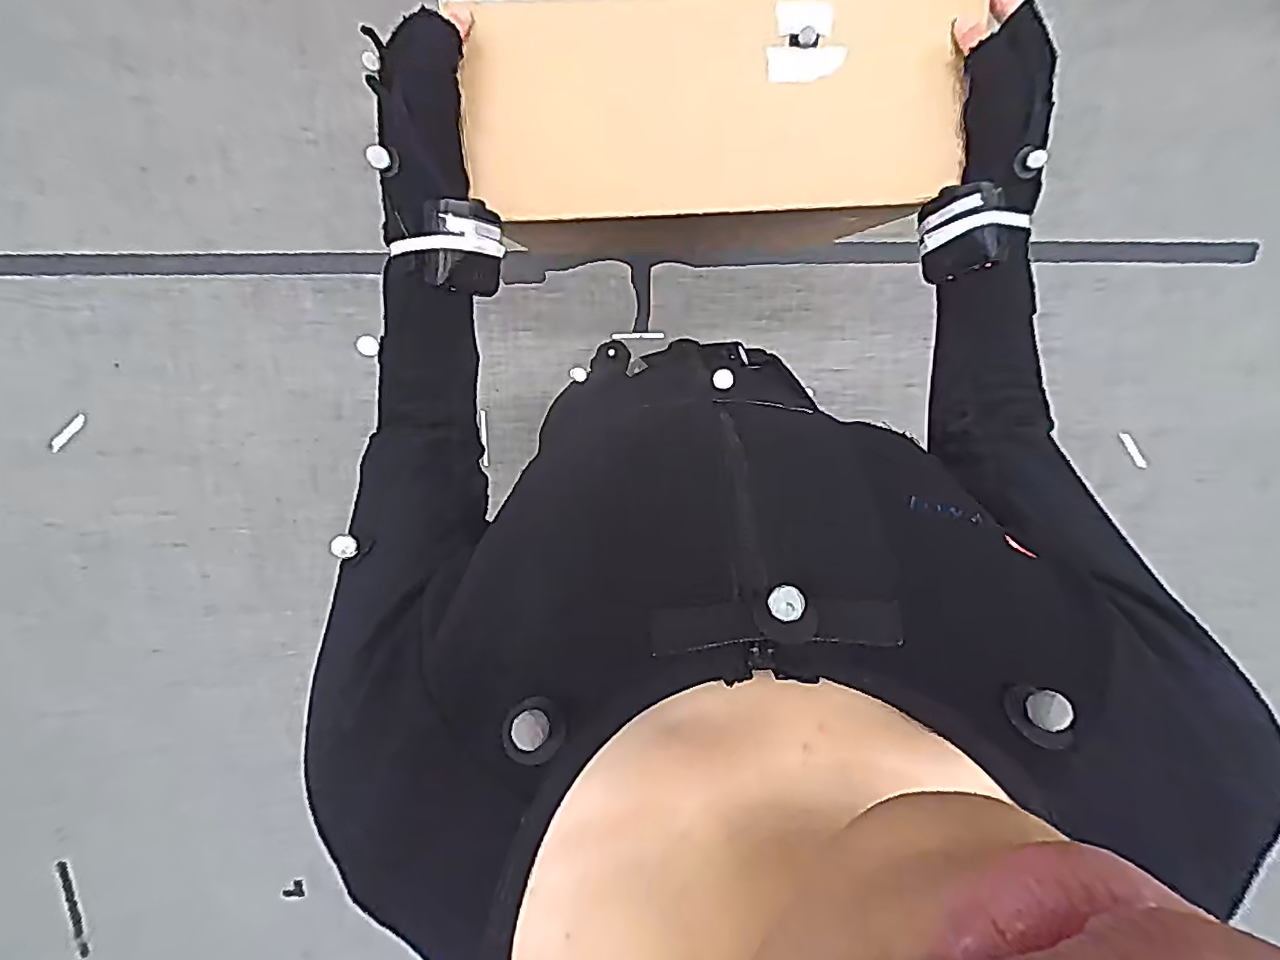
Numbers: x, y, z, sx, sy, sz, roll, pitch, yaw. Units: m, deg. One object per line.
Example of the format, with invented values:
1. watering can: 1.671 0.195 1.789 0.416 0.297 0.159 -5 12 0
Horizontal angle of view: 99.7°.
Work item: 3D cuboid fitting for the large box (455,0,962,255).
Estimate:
1. large box: 0.048 -0.424 0.559 0.408 0.320 0.320 -3 109 -1
